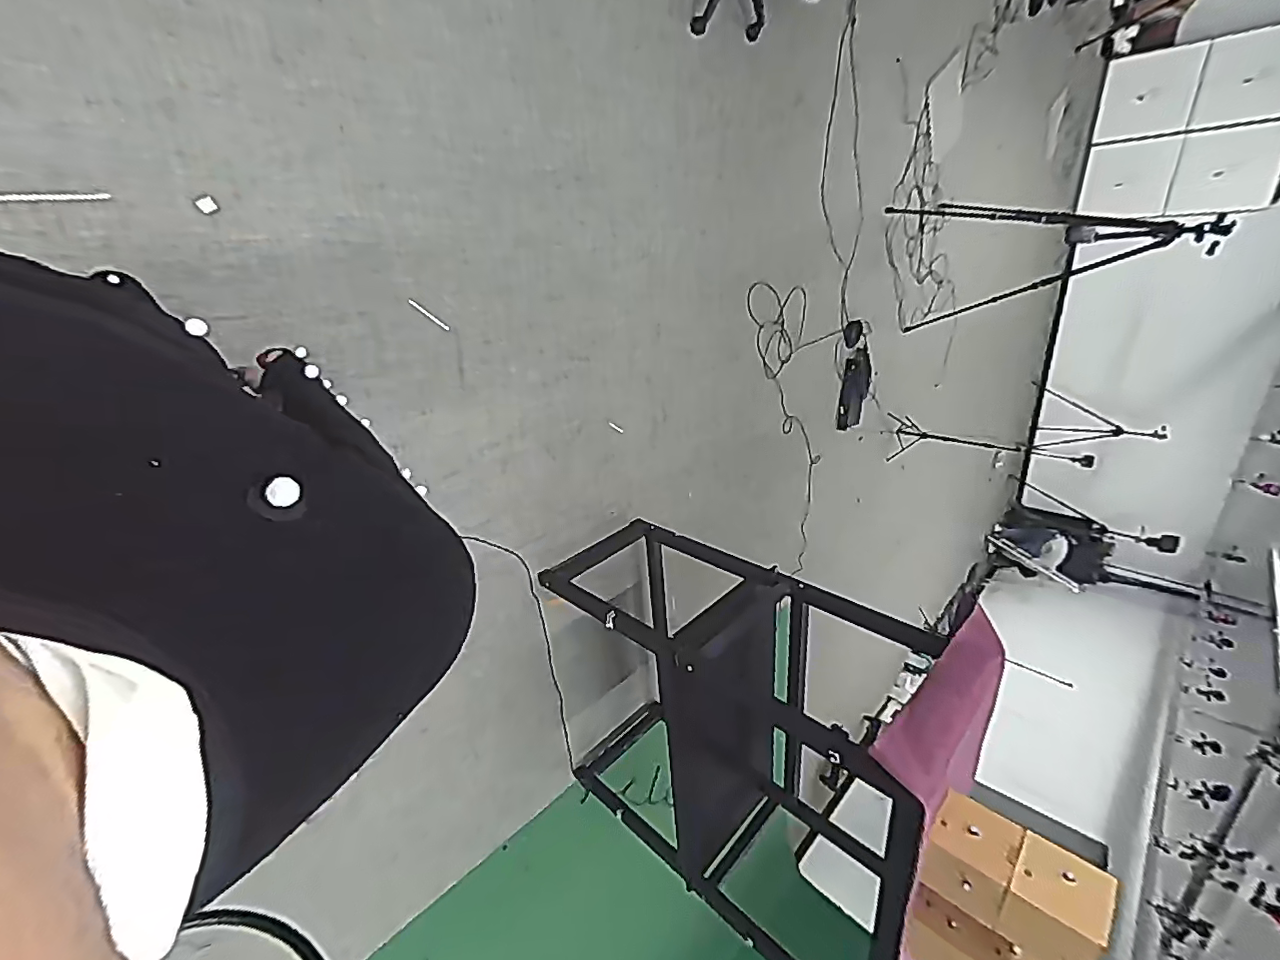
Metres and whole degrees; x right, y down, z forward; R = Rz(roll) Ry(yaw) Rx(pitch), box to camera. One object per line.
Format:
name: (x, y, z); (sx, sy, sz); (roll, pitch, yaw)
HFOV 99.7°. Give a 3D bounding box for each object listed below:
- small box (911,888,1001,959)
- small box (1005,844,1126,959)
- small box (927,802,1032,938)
small box: (0.828, 1.199, 1.413); (0.168, 0.176, 0.179); (-26, 121, -38)
small box: (0.920, 0.945, 1.179); (0.168, 0.176, 0.179); (-29, 124, -38)
small box: (0.803, 0.911, 1.287); (0.168, 0.176, 0.179); (-28, 121, -38)
